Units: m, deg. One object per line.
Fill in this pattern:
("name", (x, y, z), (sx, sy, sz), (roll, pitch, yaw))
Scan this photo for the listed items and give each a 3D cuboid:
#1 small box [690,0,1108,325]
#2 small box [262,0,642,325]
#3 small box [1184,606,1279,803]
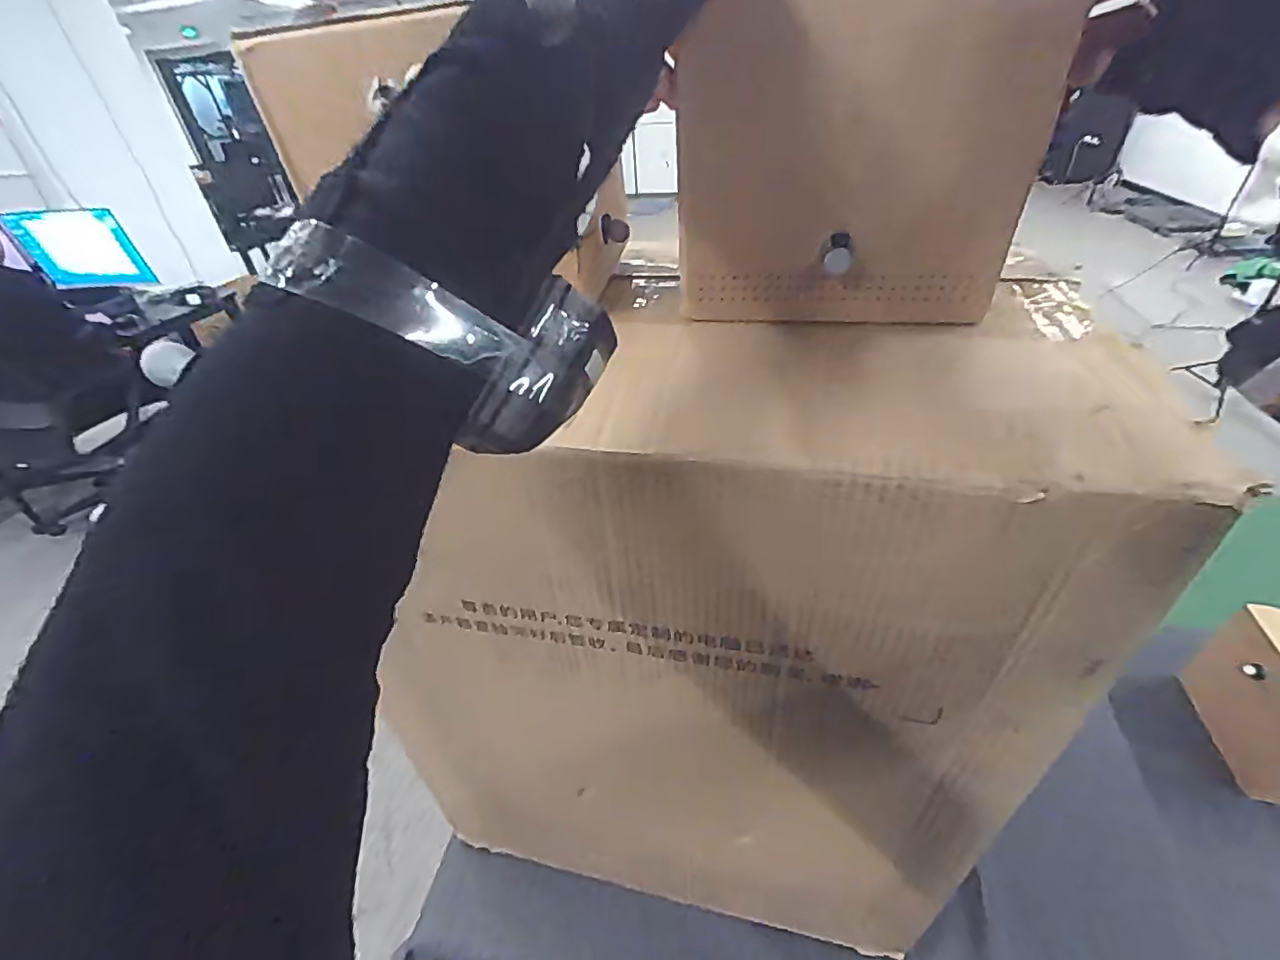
("small box", (0.129, -0.207, 0.339), (0.179, 0.176, 0.168), (5, 40, 11))
("small box", (-0.101, -0.222, 0.386), (0.179, 0.176, 0.168), (3, 42, 10))
("small box", (0.850, 0.289, 0.673), (0.168, 0.176, 0.179), (6, 38, 15))
